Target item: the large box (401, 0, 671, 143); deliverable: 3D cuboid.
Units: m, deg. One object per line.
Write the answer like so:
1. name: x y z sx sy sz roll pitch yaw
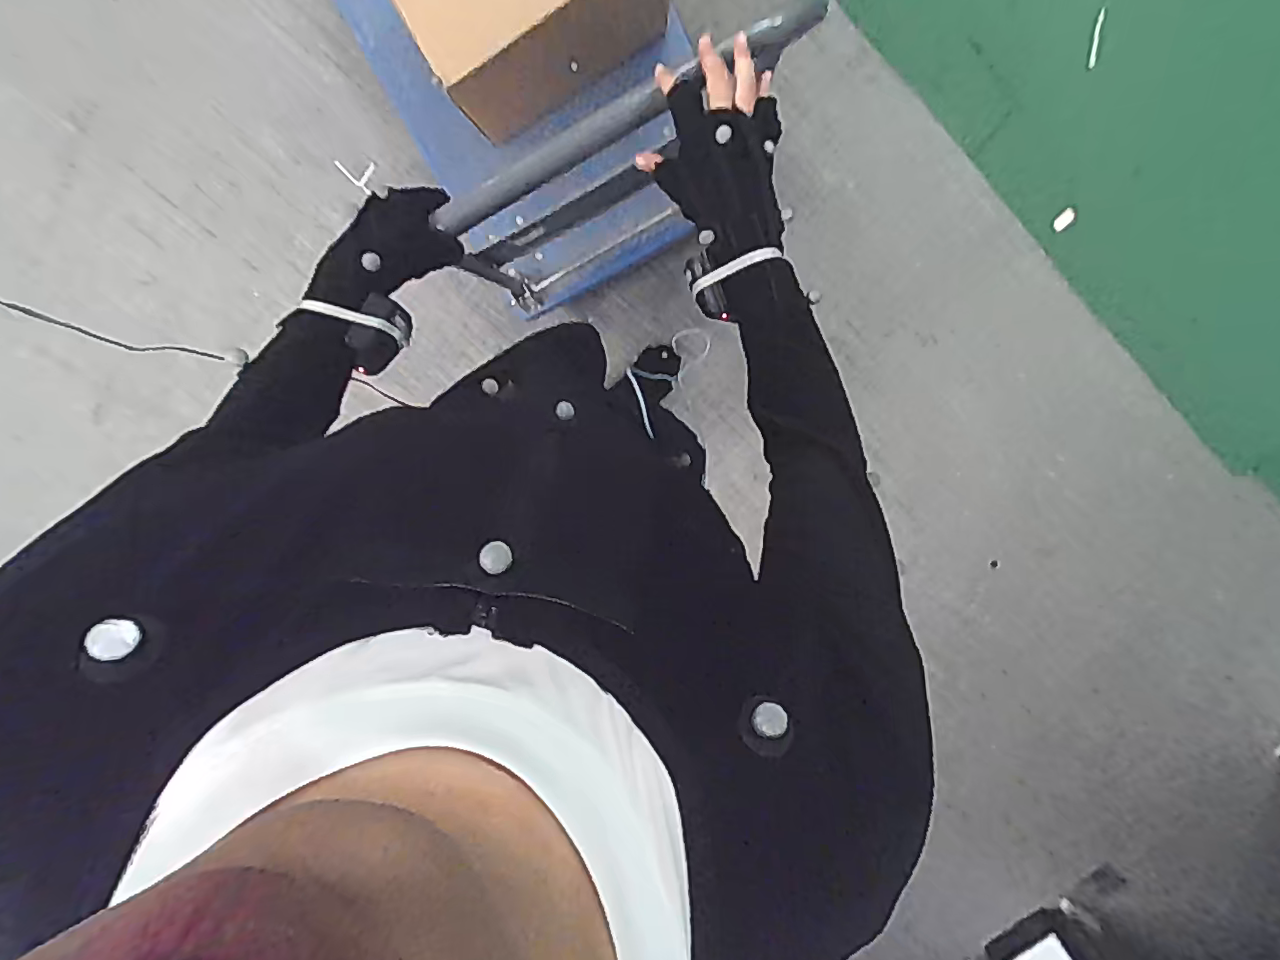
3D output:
1. large box: -0.189 -0.869 0.913 0.408 0.320 0.320 -29 105 10
